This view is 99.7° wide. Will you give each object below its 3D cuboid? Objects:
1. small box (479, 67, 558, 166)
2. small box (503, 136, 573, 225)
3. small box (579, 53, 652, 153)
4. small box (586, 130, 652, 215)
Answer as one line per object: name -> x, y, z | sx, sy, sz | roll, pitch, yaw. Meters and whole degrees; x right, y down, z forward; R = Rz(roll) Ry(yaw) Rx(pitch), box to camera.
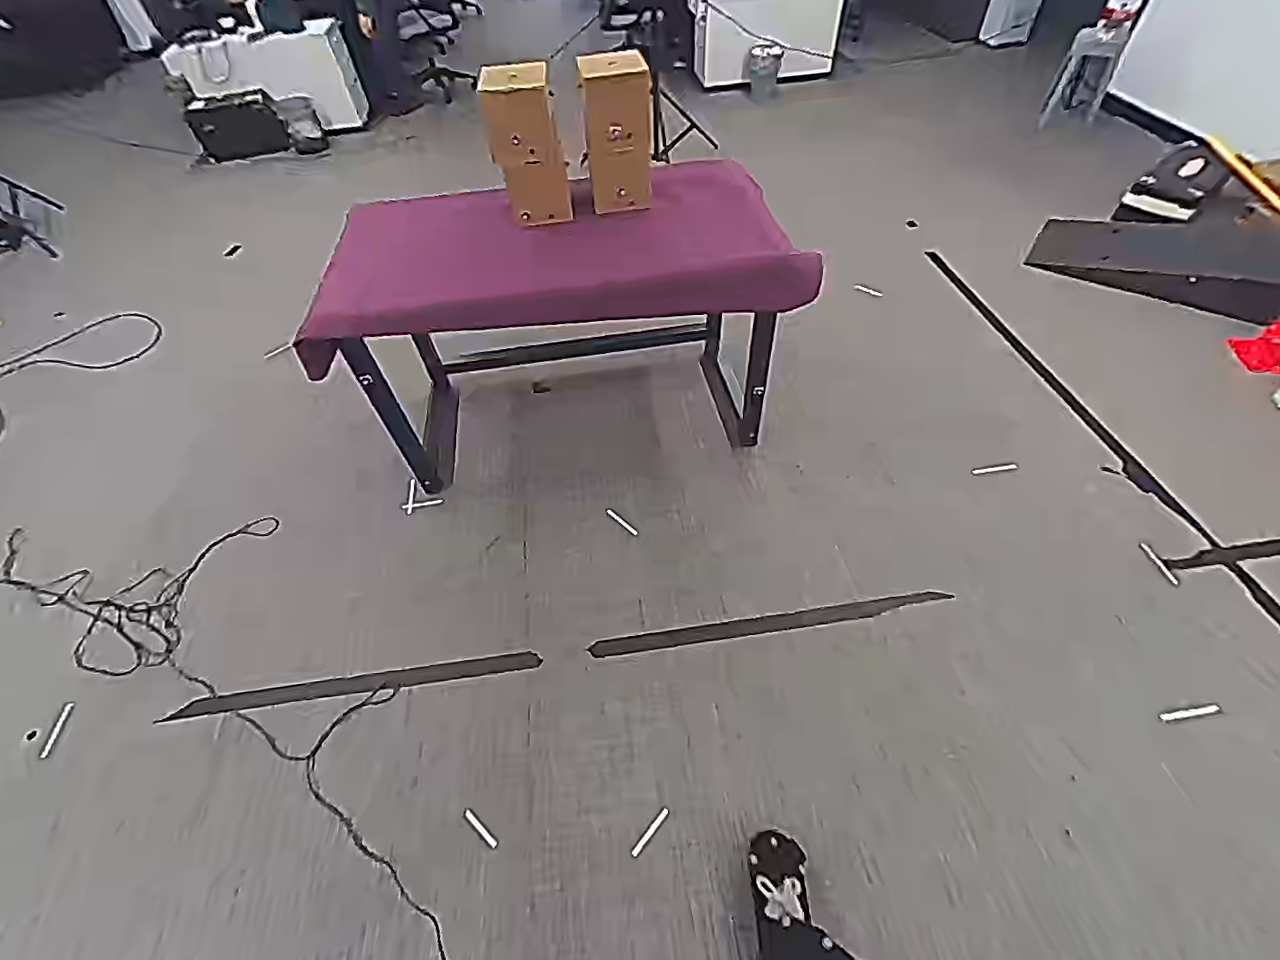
small box -> -0.308, -0.946, 1.409 | 0.168, 0.176, 0.179 | -6, 53, -1
small box -> -0.286, -0.843, 1.534 | 0.168, 0.176, 0.179 | -8, 52, -3
small box -> -0.064, -0.996, 1.432 | 0.168, 0.176, 0.179 | -11, 53, -3
small box -> -0.060, -0.892, 1.556 | 0.168, 0.176, 0.179 | -8, 53, -2
